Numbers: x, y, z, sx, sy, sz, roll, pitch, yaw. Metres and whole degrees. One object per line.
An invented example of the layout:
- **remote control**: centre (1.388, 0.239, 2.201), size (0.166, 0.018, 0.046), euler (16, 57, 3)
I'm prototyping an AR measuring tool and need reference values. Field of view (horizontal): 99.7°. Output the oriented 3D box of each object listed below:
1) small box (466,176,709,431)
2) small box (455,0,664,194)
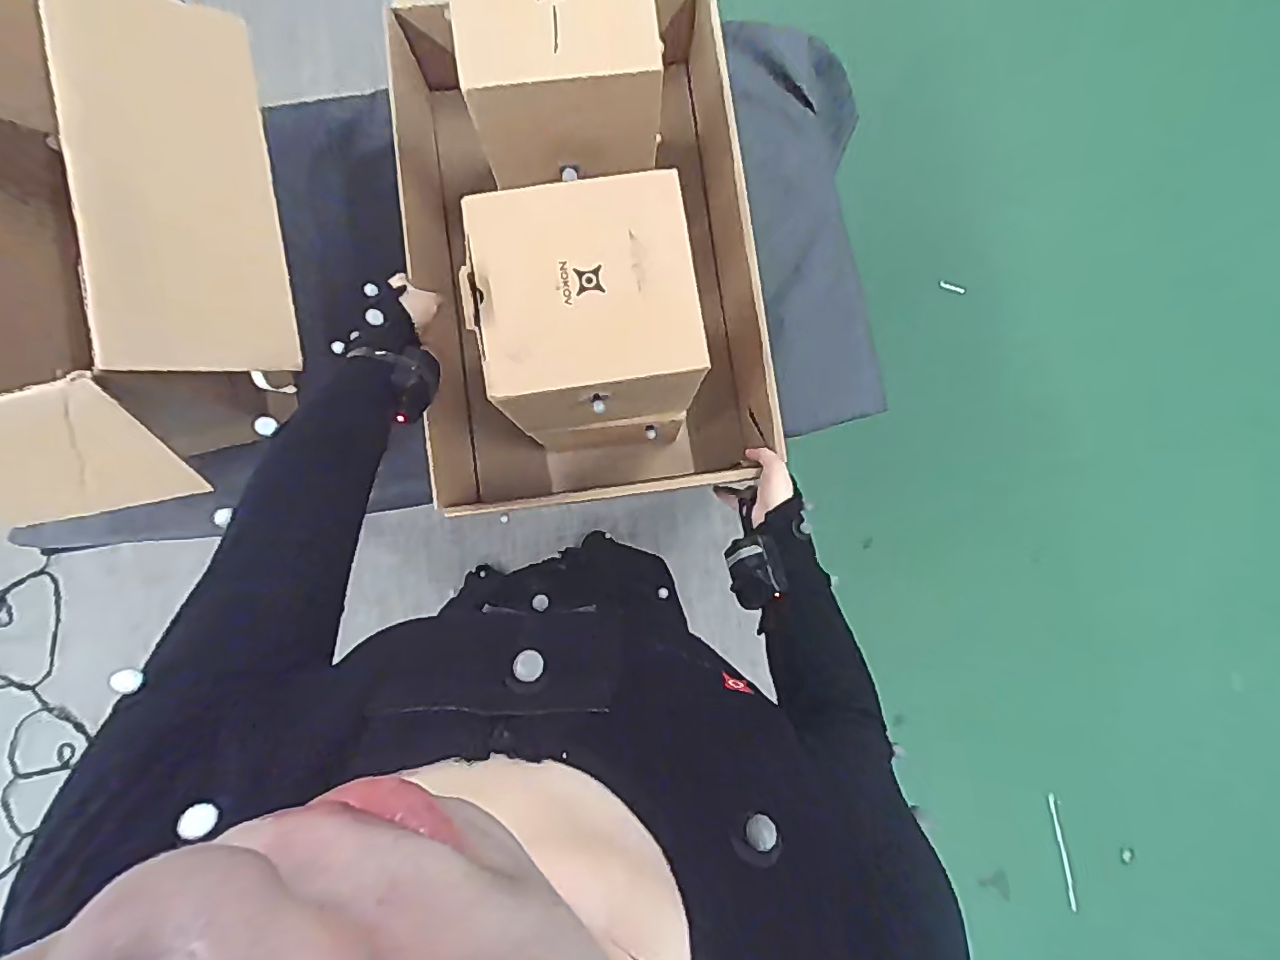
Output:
- **small box**: centre (-0.044, -0.147, 0.506), size (0.179, 0.176, 0.168), euler (-9, 86, -3)
- **small box**: centre (-0.073, -0.399, 0.518), size (0.168, 0.176, 0.179), euler (-6, 89, -2)
